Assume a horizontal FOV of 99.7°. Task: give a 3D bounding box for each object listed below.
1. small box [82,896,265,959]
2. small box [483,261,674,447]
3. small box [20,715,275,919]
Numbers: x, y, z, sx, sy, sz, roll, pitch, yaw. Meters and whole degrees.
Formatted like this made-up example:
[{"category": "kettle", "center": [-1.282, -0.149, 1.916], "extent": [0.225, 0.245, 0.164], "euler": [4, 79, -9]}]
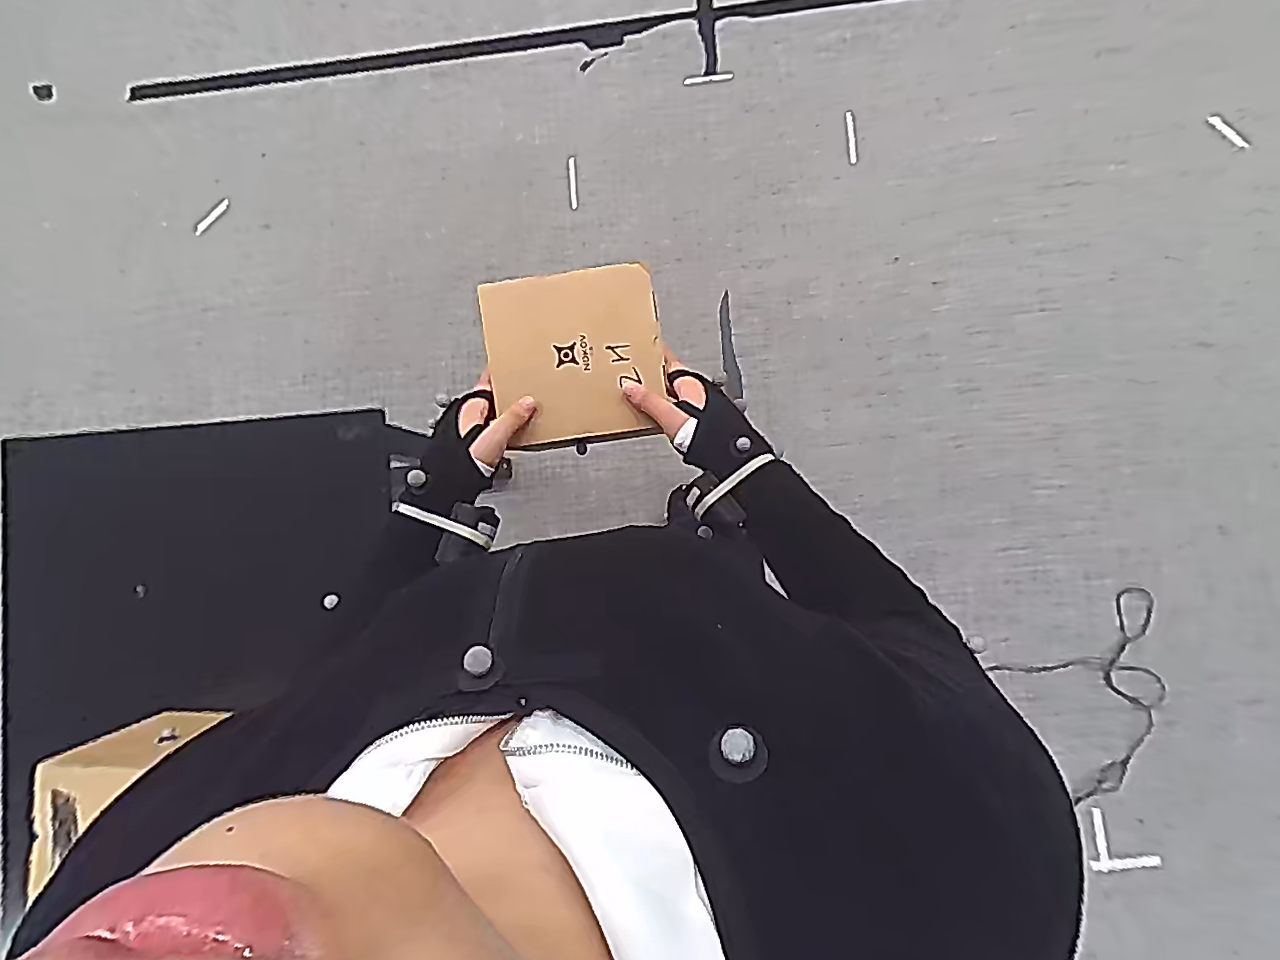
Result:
[{"category": "small box", "center": [-0.612, 0.667, 0.685], "extent": [0.179, 0.176, 0.168], "euler": [-5, 86, 3]}, {"category": "small box", "center": [-0.060, -0.129, 0.617], "extent": [0.179, 0.176, 0.168], "euler": [-8, 93, 0]}, {"category": "small box", "center": [-0.617, 0.418, 0.698], "extent": [0.179, 0.176, 0.168], "euler": [0, 87, 2]}]
